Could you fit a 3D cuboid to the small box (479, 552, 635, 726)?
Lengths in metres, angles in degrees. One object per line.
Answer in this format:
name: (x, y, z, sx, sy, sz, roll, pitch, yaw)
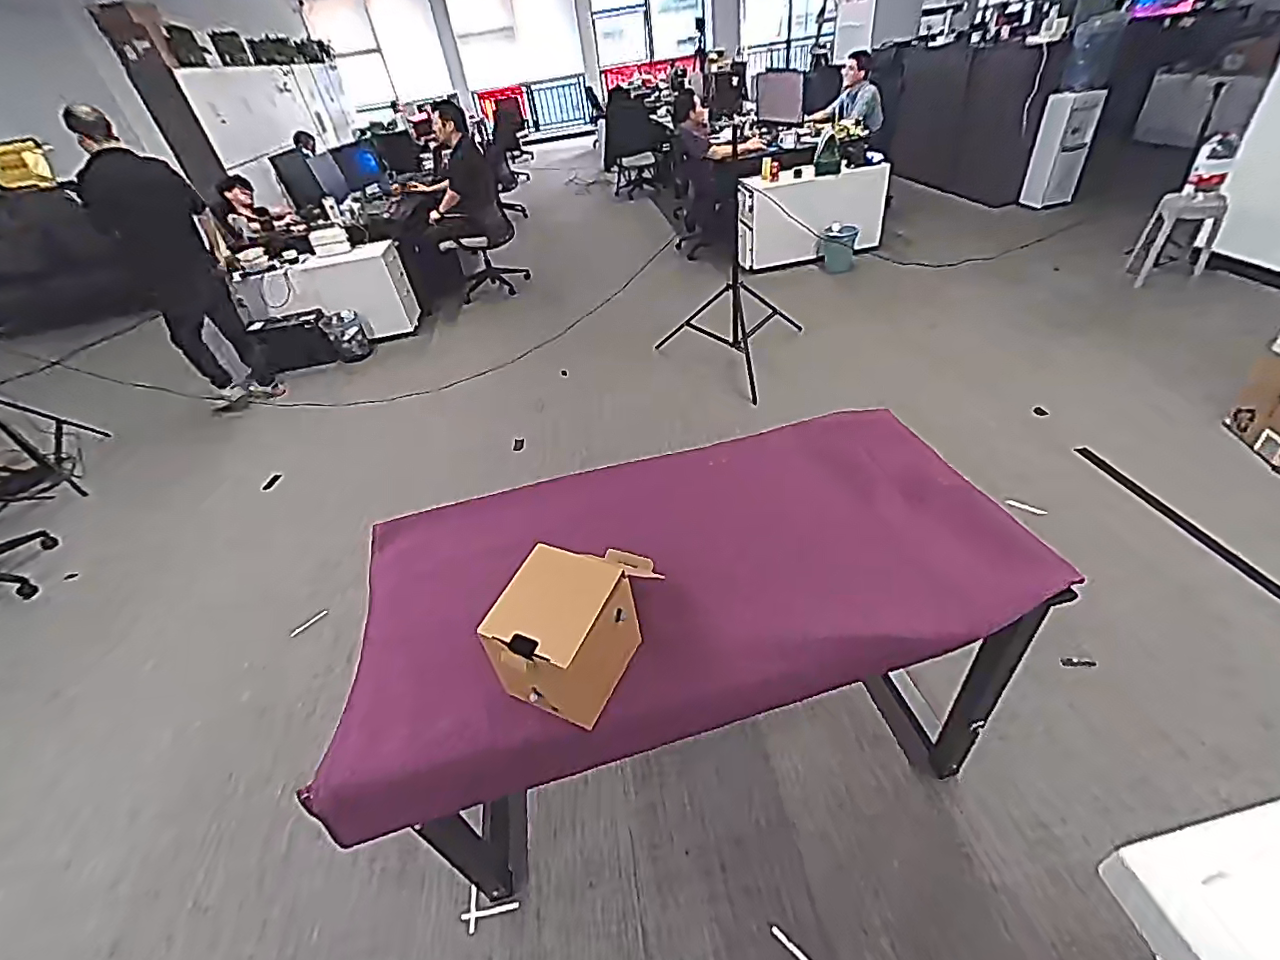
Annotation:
small box: (-0.119, 0.249, 0.862, 0.168, 0.176, 0.179, 12, 42, 26)
